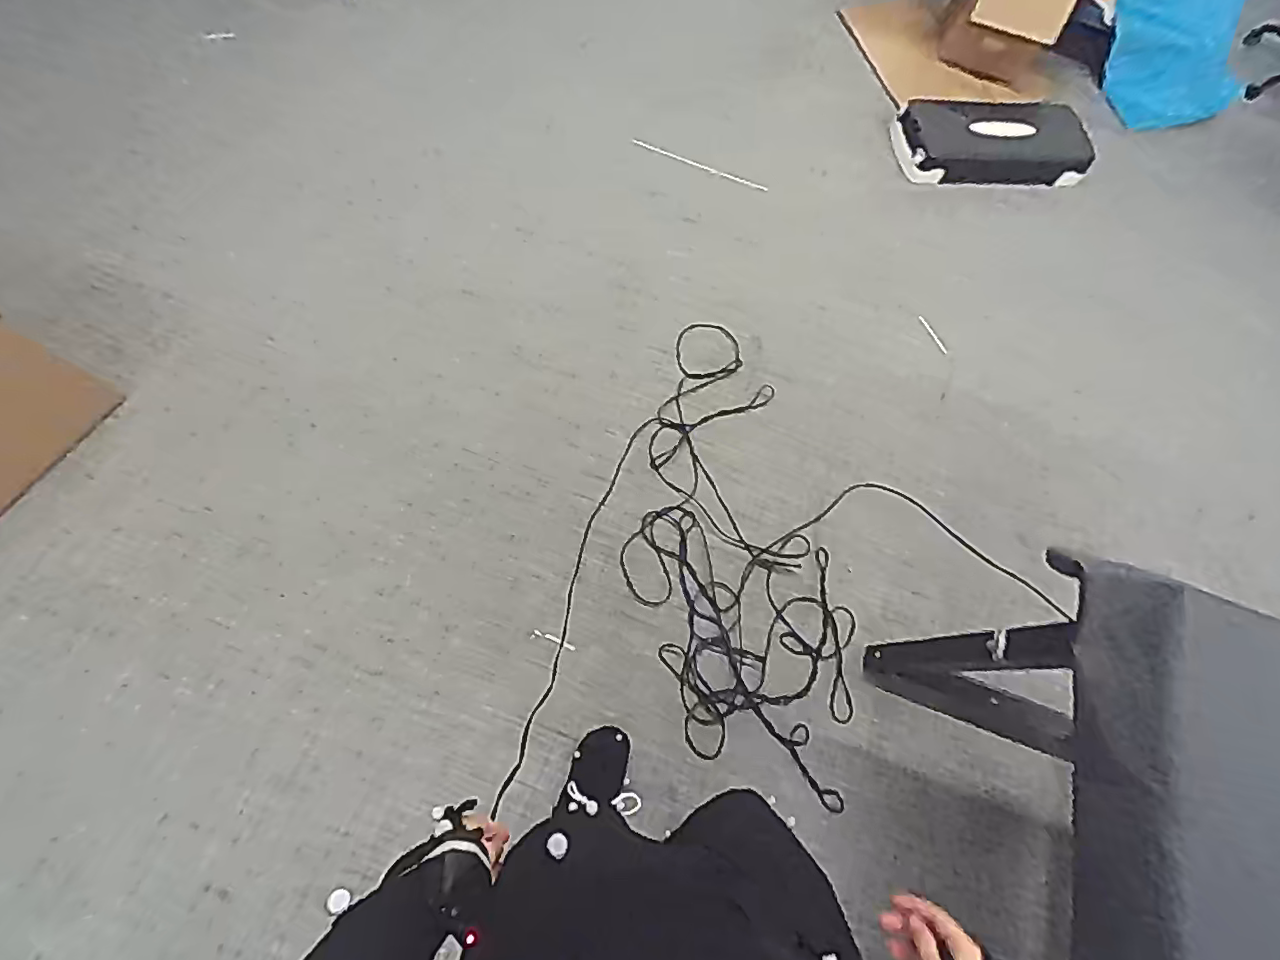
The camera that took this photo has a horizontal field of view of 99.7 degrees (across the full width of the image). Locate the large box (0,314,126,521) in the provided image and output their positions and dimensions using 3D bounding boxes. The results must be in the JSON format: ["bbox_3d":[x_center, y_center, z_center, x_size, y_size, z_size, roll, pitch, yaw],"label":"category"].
[{"bbox_3d":[-1.419,-0.152,1.086,0.320,0.320,0.408,28,68,3],"label":"large box"}]
